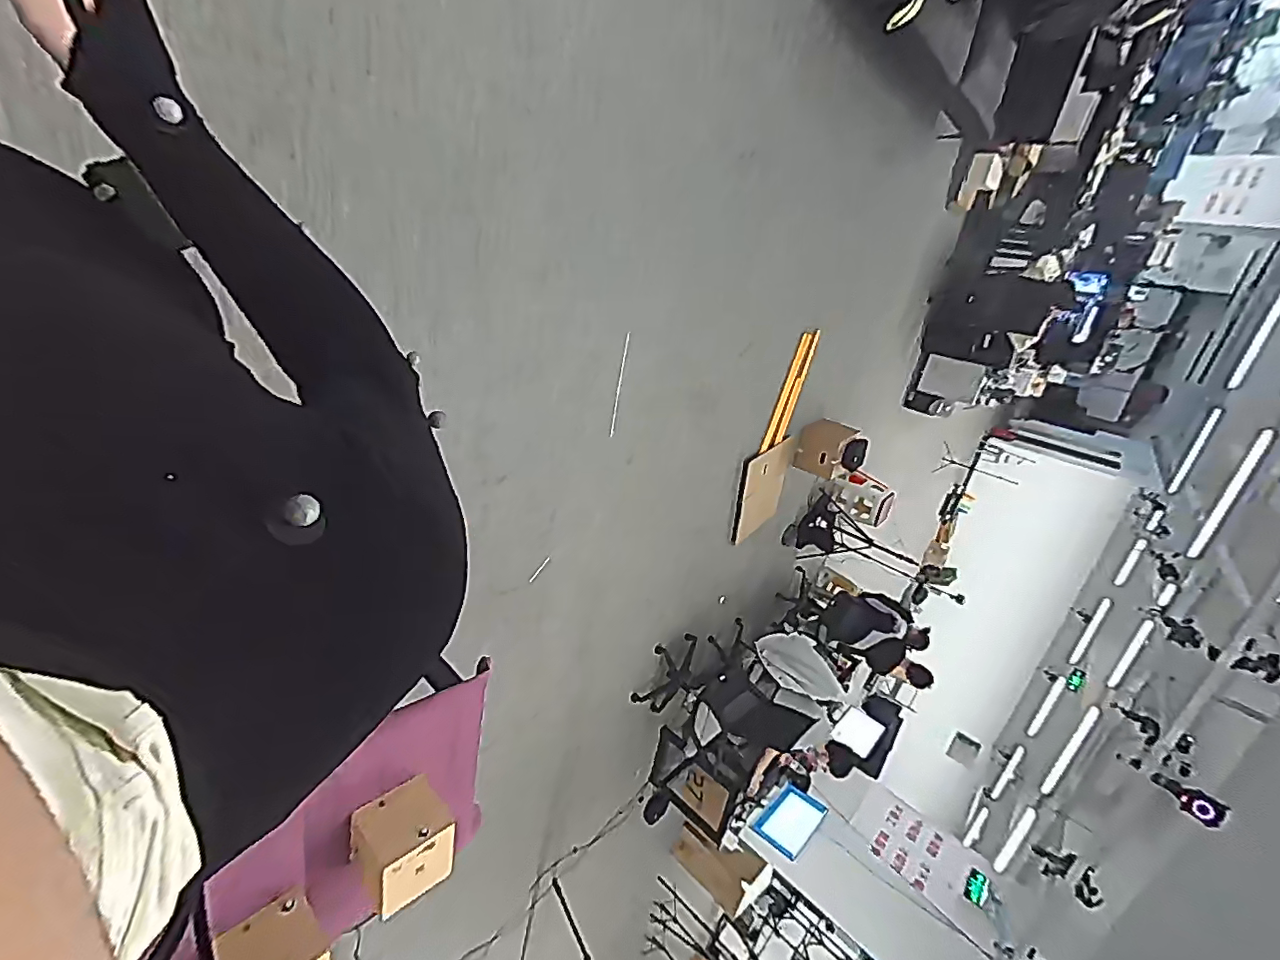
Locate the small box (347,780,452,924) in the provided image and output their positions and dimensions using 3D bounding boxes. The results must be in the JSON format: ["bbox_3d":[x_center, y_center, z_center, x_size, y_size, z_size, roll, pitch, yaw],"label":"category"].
[{"bbox_3d":[-0.557,0.846,1.248,0.168,0.176,0.179,-12,121,-48],"label":"small box"}]

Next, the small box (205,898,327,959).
[{"bbox_3d":[-0.756,1.009,1.099,0.168,0.176,0.179,-14,123,-47],"label":"small box"}]
